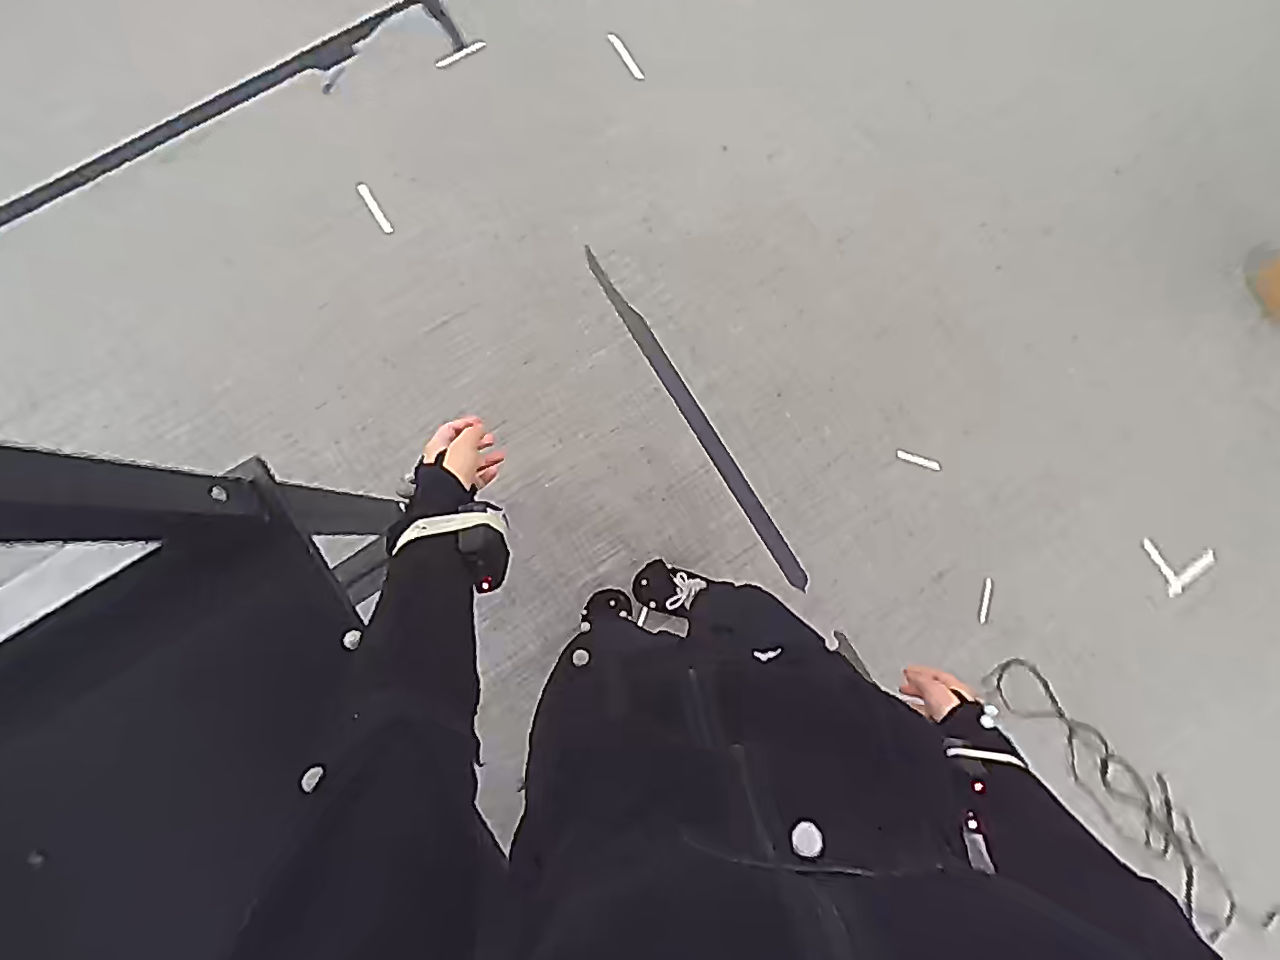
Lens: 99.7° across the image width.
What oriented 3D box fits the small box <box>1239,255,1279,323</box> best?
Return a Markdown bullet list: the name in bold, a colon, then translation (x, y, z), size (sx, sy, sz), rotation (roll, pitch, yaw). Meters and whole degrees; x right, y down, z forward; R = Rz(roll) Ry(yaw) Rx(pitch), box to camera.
- **small box**: translation (1.846, -0.556, 1.490), size (0.168, 0.176, 0.179), rotation (-26, 85, -6)
